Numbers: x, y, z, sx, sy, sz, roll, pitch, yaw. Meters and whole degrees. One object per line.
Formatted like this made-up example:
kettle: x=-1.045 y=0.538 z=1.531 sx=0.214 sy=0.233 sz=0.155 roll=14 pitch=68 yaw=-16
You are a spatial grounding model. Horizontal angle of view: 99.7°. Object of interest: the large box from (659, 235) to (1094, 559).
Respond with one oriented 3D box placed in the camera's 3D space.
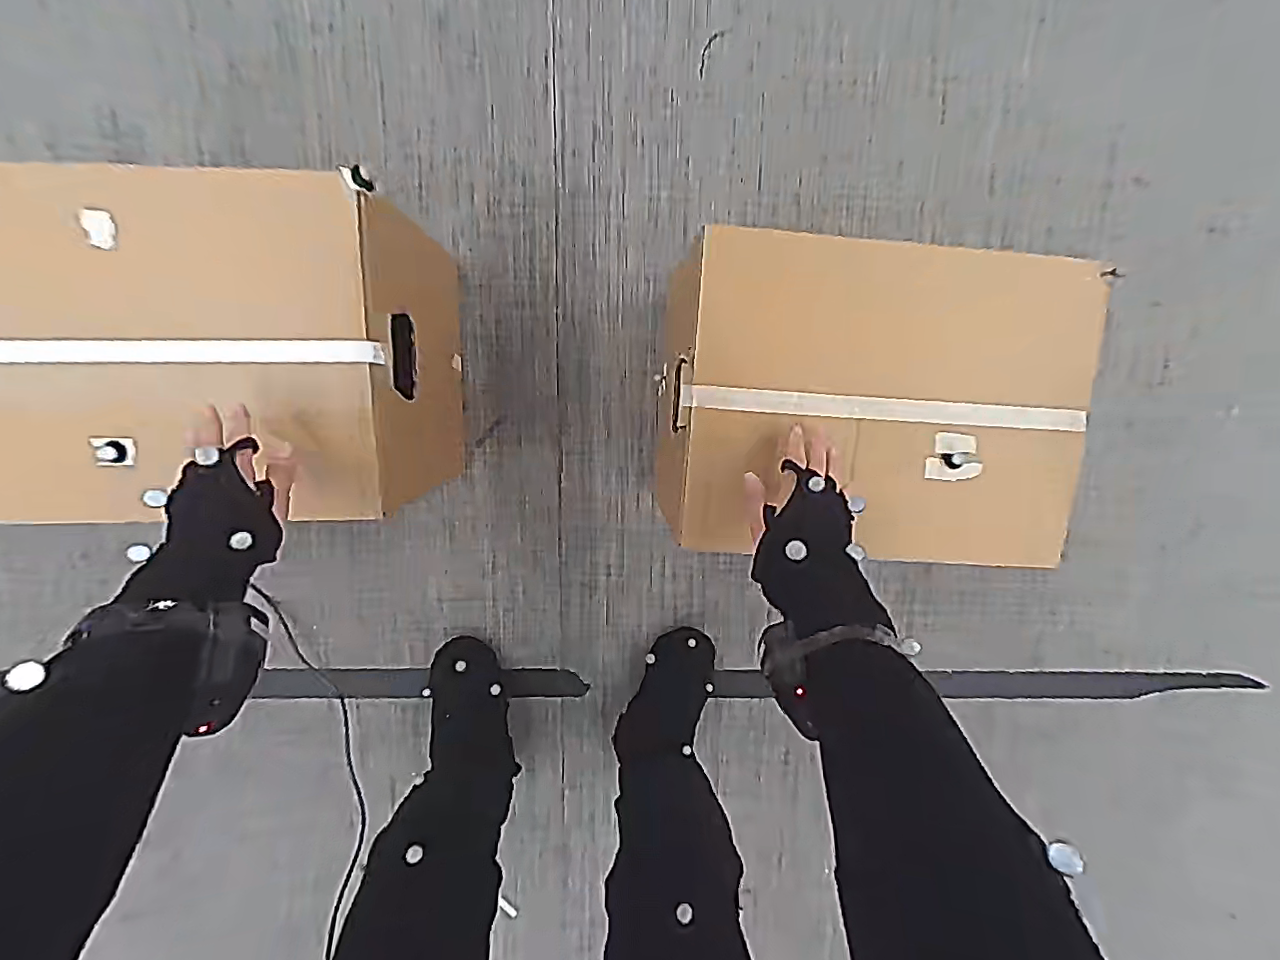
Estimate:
large box: x=0.242 y=-0.093 z=0.696 sx=0.408 sy=0.320 sz=0.320 roll=3 pitch=98 yaw=-5
